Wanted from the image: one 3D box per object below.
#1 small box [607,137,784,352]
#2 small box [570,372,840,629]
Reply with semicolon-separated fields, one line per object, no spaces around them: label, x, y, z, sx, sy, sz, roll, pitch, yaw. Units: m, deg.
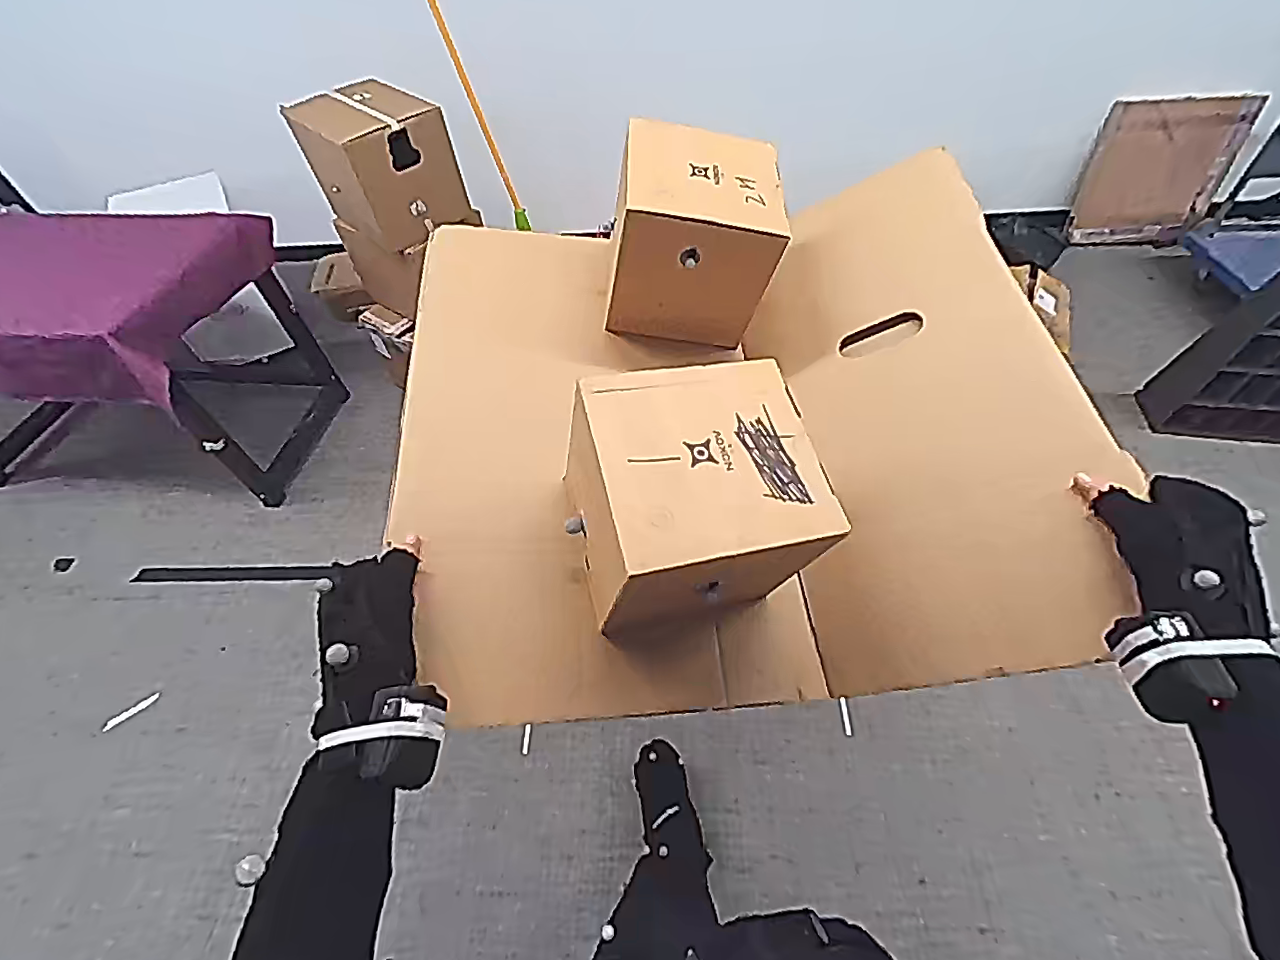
small box;0.056;-0.279;0.666;0.179;0.176;0.168;6;60;-9
small box;0.040;0.023;0.493;0.179;0.176;0.168;-9;64;-15
